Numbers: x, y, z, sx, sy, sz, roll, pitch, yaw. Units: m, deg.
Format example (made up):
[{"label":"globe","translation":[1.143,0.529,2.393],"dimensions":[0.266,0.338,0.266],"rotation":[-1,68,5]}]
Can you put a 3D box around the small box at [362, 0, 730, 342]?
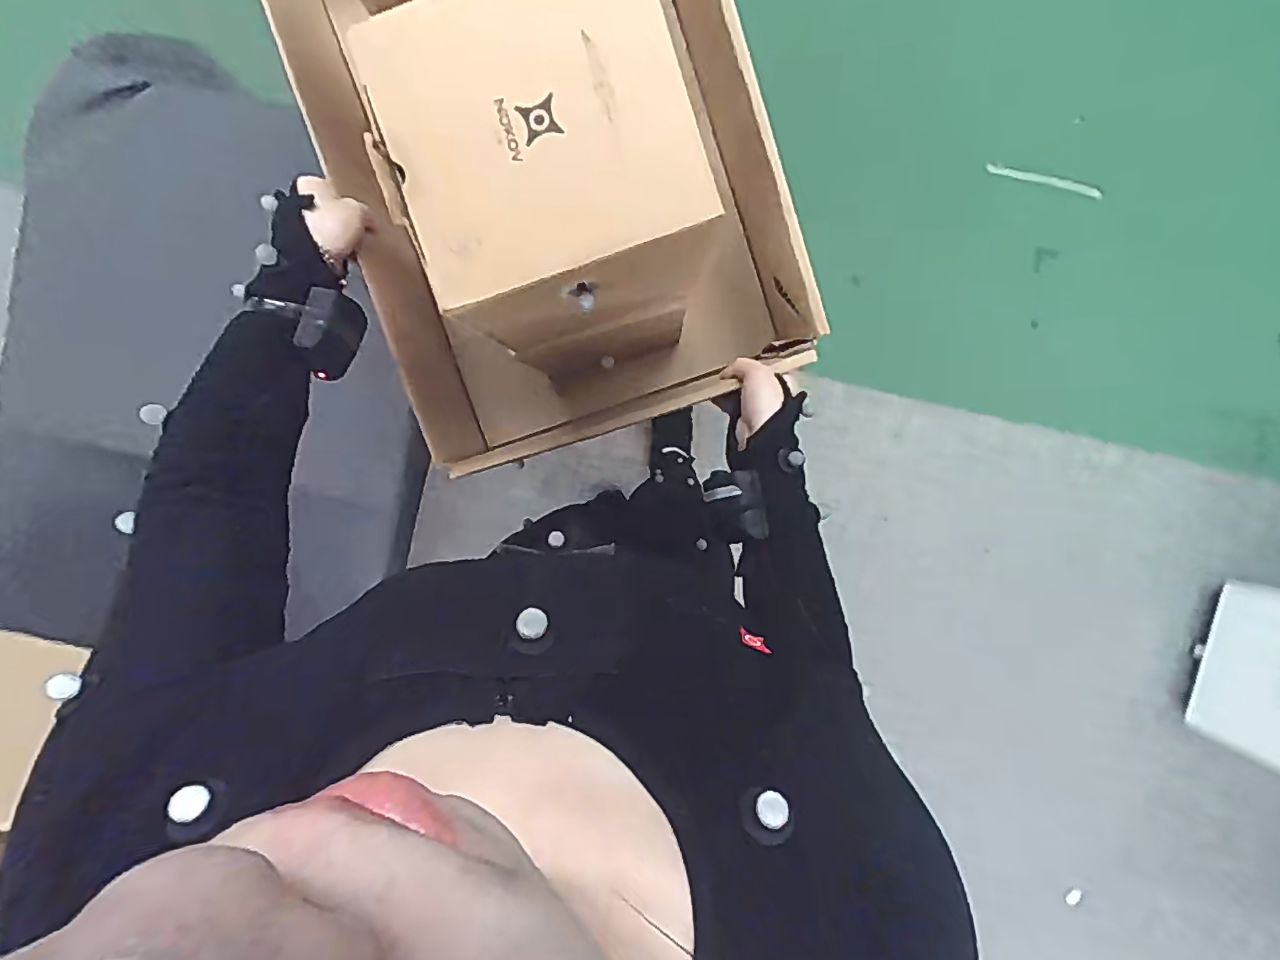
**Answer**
[{"label":"small box","translation":[-0.050,-0.209,0.386],"dimensions":[0.179,0.176,0.168],"rotation":[-18,96,3]}]
